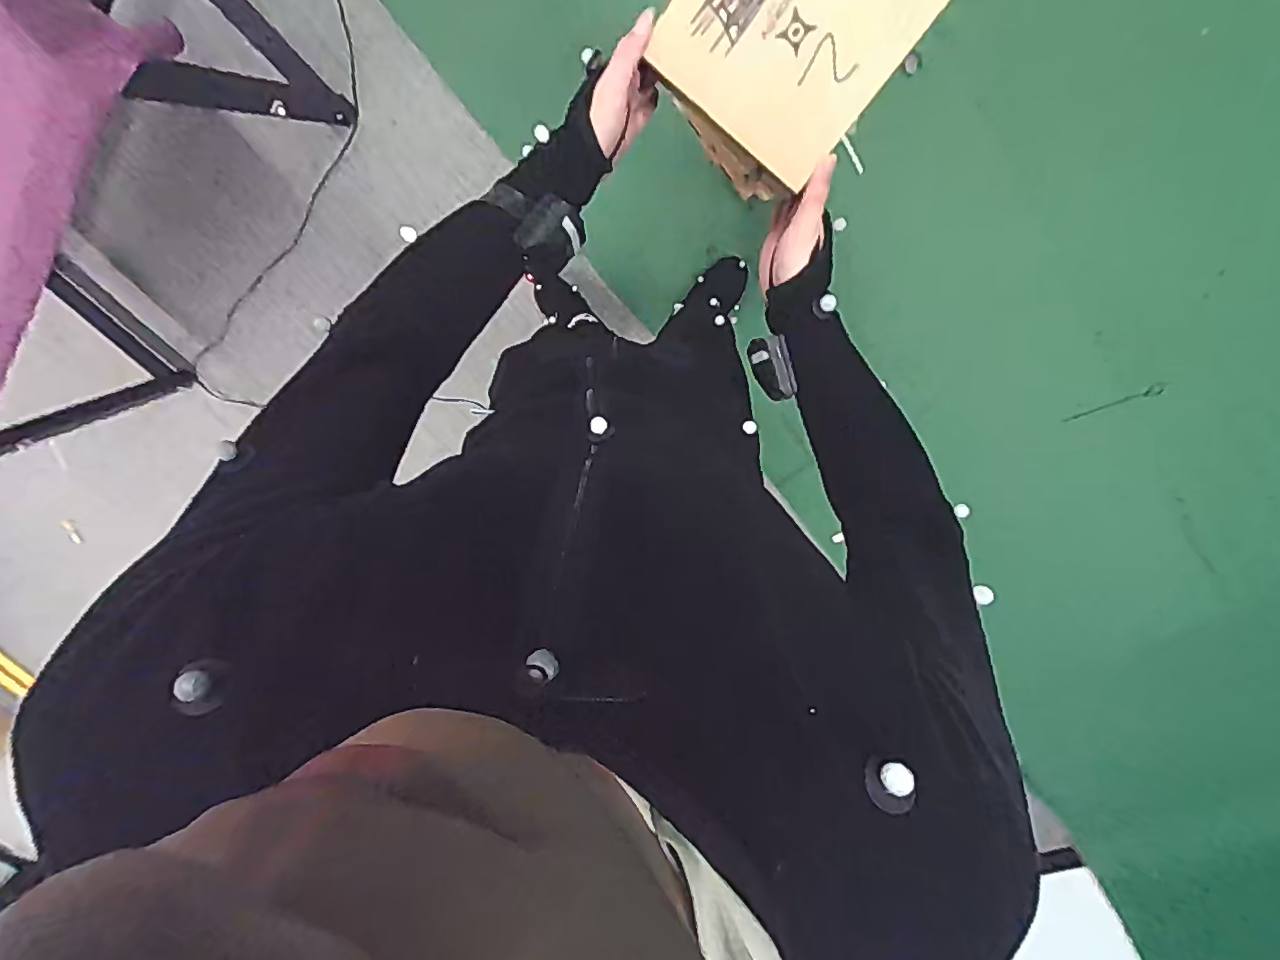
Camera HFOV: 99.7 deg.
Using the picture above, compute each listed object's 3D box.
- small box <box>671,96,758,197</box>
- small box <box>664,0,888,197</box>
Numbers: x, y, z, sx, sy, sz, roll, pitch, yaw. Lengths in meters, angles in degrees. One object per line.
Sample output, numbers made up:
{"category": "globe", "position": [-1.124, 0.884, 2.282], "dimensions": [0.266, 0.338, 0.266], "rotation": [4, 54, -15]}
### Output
{"category": "small box", "position": [0.172, -0.540, 0.785], "dimensions": [0.179, 0.176, 0.168], "rotation": [-35, 106, 26]}
{"category": "small box", "position": [0.155, -0.467, 0.639], "dimensions": [0.179, 0.176, 0.168], "rotation": [41, 117, -10]}
